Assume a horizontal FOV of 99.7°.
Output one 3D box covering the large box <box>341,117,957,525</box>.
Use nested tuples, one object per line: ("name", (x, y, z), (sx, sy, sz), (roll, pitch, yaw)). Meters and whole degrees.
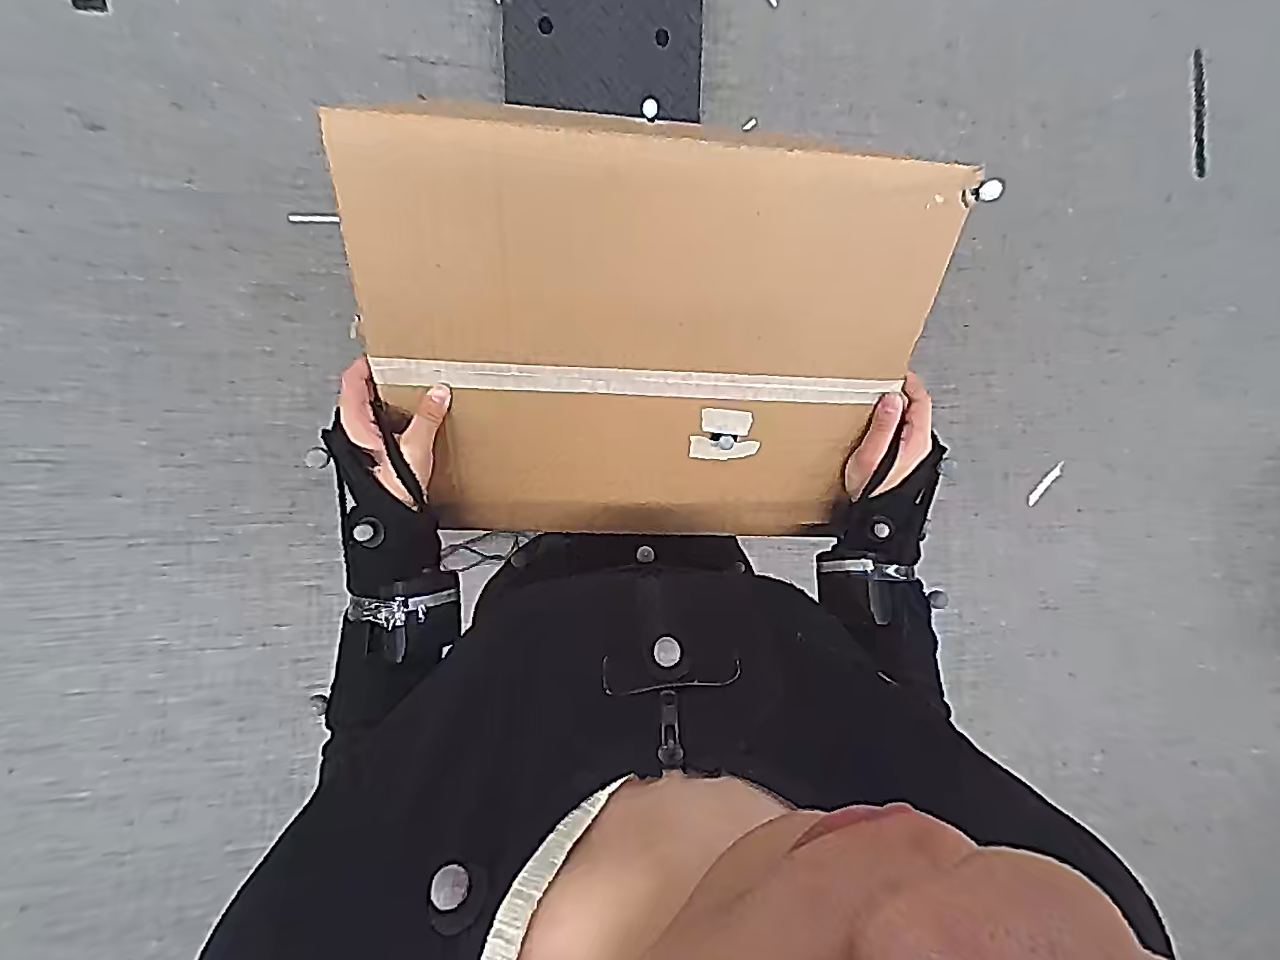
("large box", (-0.006, -0.170, 0.547), (0.408, 0.320, 0.320), (0, 127, -7))
